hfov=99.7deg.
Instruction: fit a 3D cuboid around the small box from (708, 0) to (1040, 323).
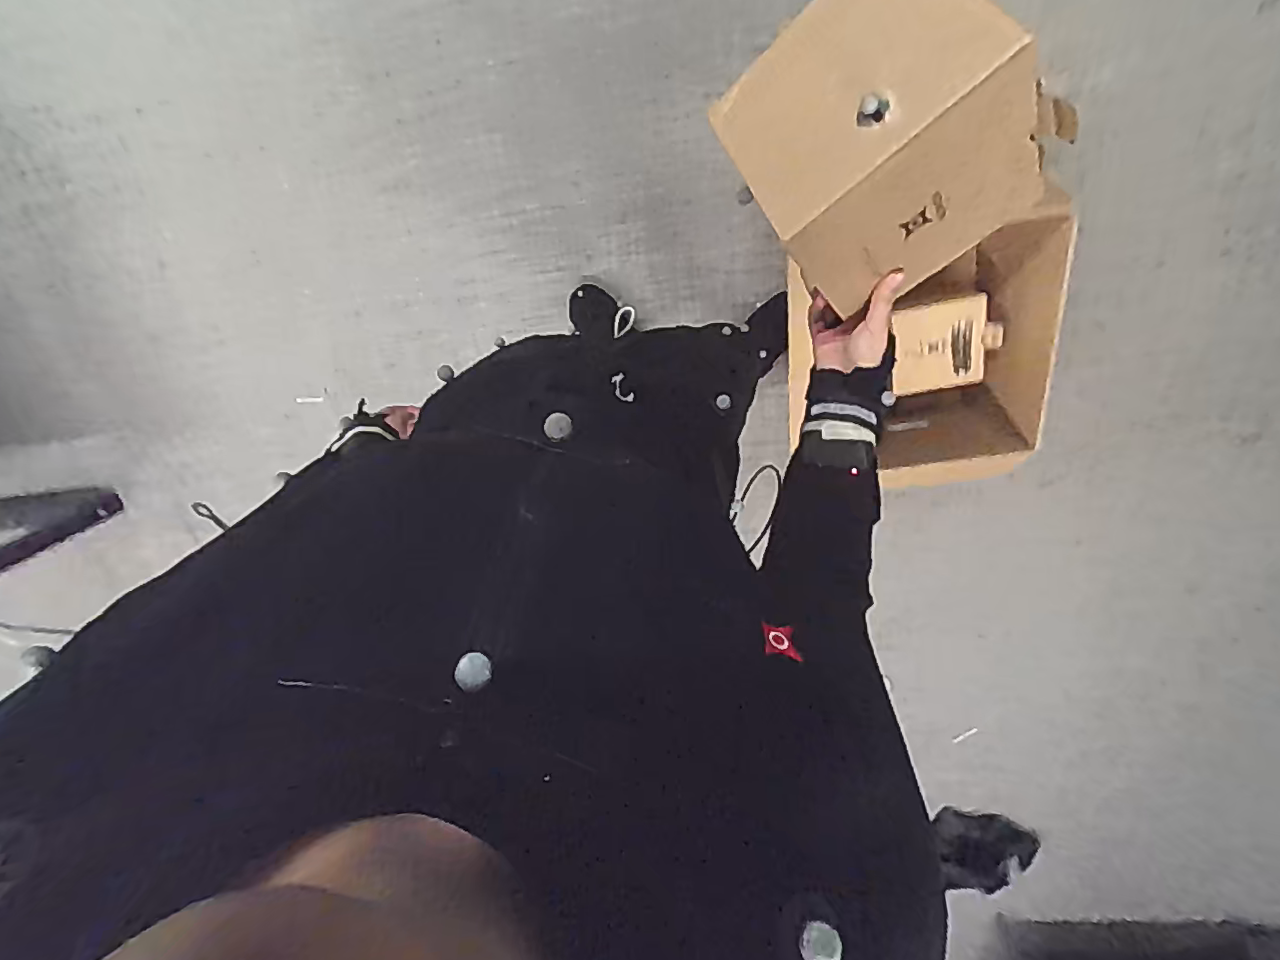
[{"bbox_3d":[0.186,-0.273,0.446,0.179,0.176,0.168,-34,152,29],"label":"small box"}]
